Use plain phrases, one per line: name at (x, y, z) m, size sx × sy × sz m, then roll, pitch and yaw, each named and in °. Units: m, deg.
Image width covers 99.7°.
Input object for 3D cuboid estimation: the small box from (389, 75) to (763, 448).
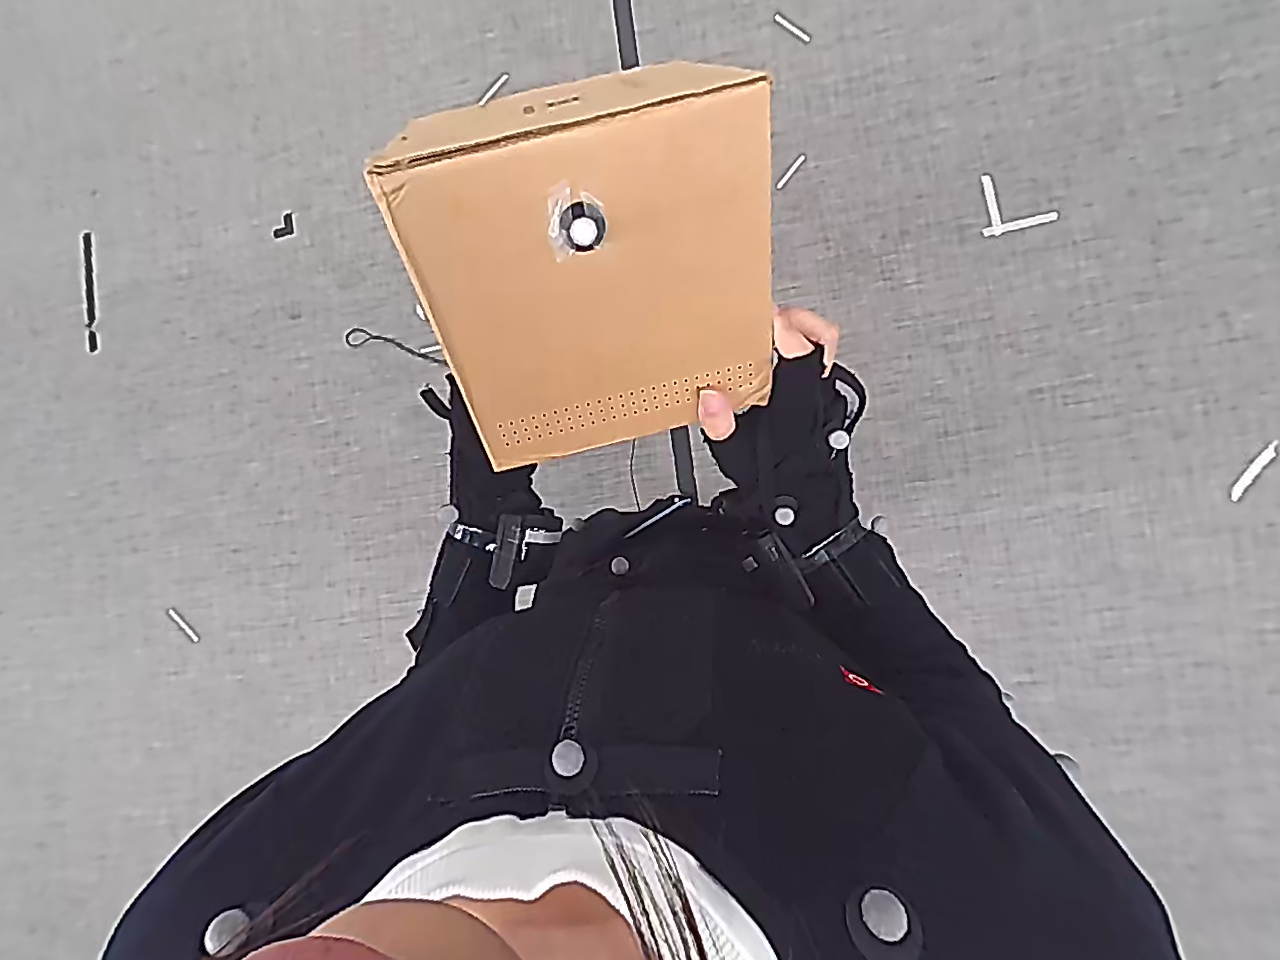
small box at (-0.028, -0.141, 0.354) m, size 0.179 × 0.168 × 0.176 m, roll -14°, pitch 131°, yaw -2°
